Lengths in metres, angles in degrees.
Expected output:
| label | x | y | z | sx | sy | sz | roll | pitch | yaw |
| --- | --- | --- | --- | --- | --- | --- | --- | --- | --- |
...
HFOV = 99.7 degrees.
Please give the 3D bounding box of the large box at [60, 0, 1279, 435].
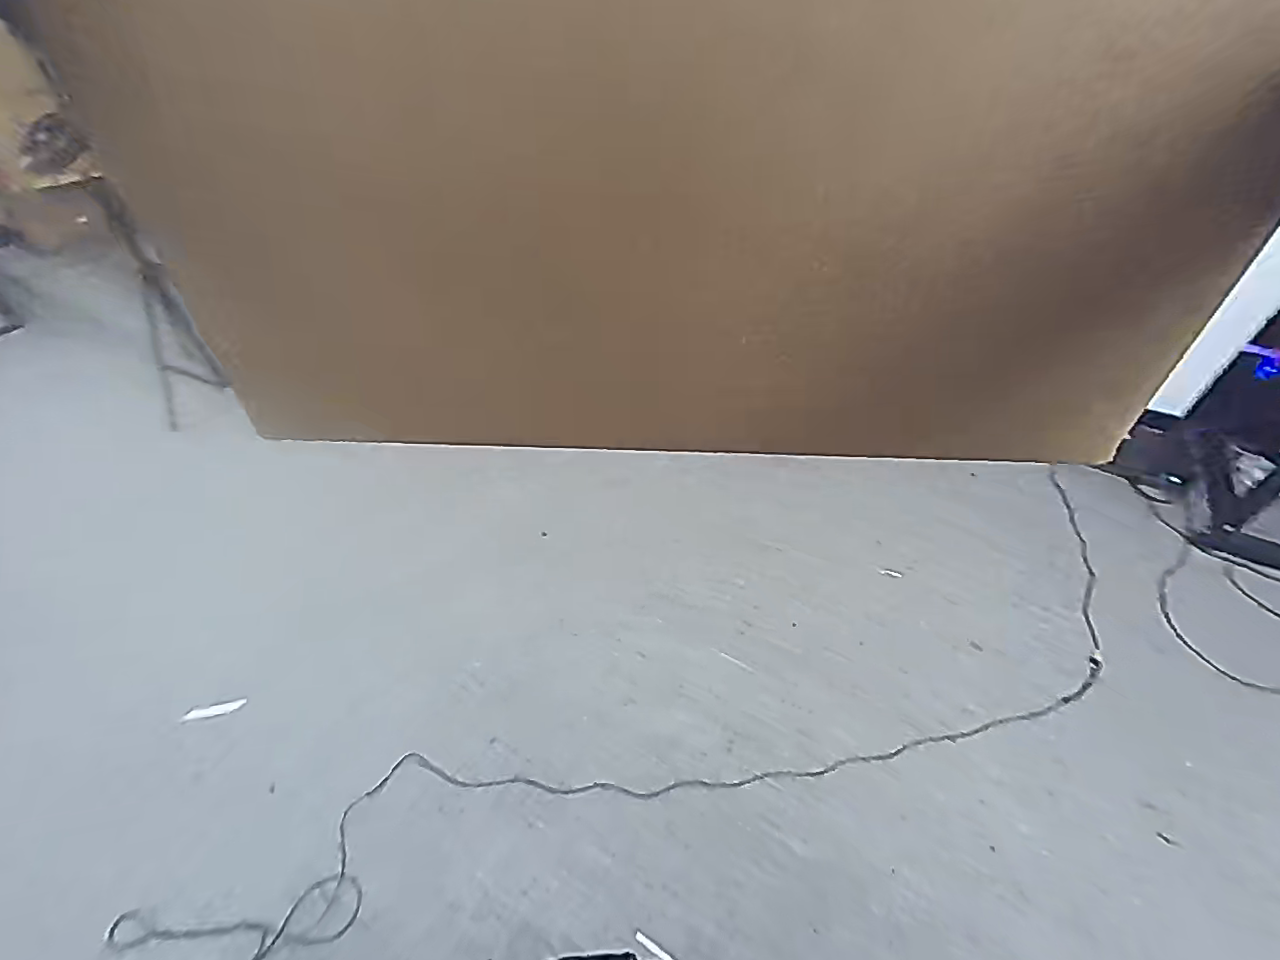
| label | x | y | z | sx | sy | sz | roll | pitch | yaw |
| --- | --- | --- | --- | --- | --- | --- | --- | --- | --- |
| large box | 0.020 | -0.234 | 0.279 | 0.408 | 0.320 | 0.320 | 2 | 41 | 0 |
